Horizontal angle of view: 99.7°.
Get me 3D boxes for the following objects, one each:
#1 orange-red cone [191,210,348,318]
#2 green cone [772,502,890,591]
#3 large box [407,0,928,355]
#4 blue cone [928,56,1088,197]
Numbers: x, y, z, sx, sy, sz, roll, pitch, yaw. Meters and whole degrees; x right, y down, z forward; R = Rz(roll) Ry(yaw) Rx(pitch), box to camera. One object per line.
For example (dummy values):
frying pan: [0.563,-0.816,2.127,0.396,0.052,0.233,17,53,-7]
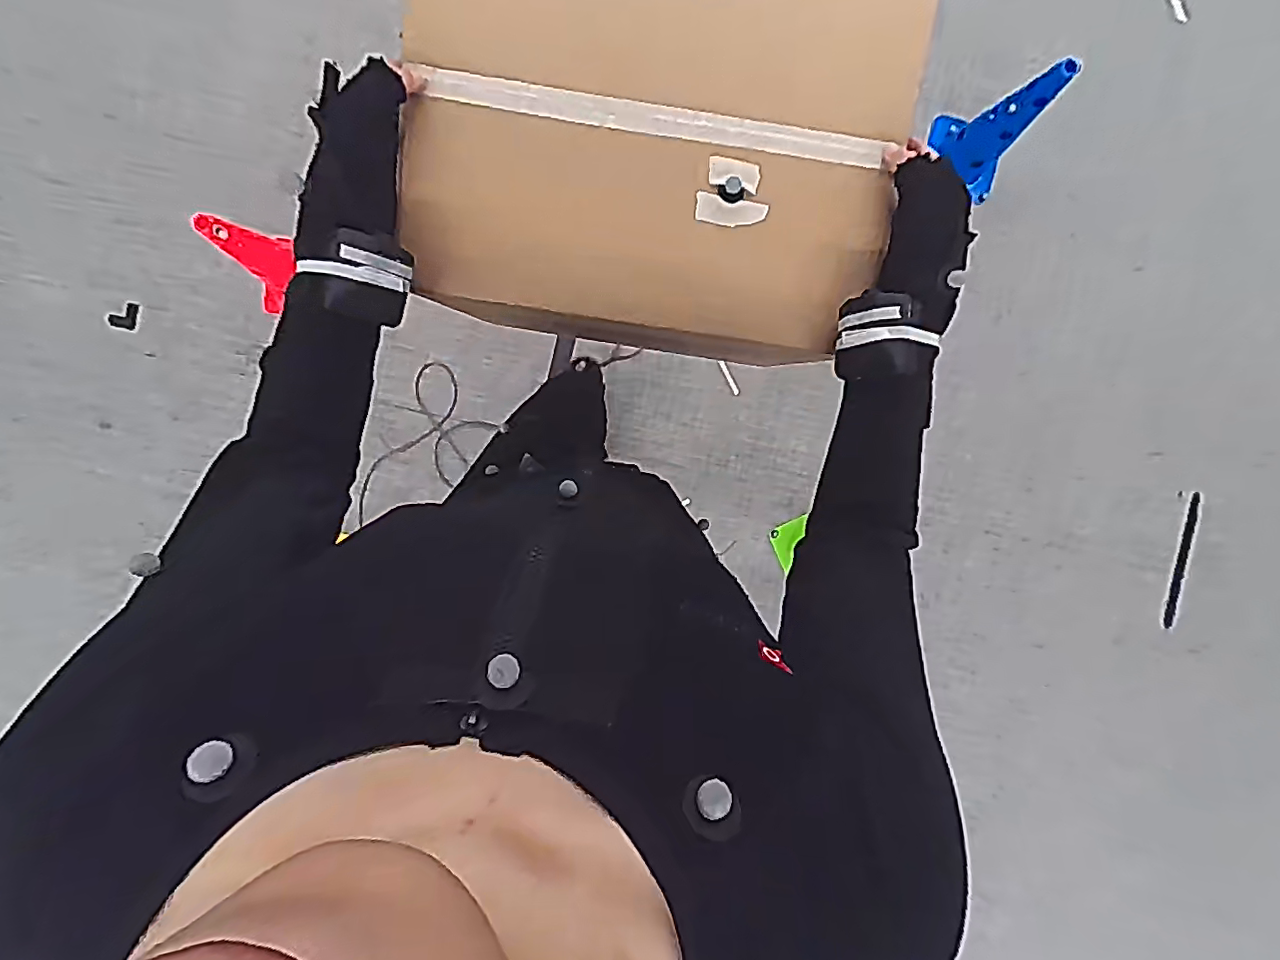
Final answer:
orange-red cone: [-0.865,-0.521,1.236,0.198,0.360,0.199,10,94,-2]
green cone: [0.495,0.192,1.320,0.202,0.368,0.200,-25,94,-2]
large box: [0.012,-0.323,0.585,0.408,0.320,0.320,8,101,-3]
blue cone: [0.889,-0.869,1.300,0.192,0.380,0.193,16,92,-4]
